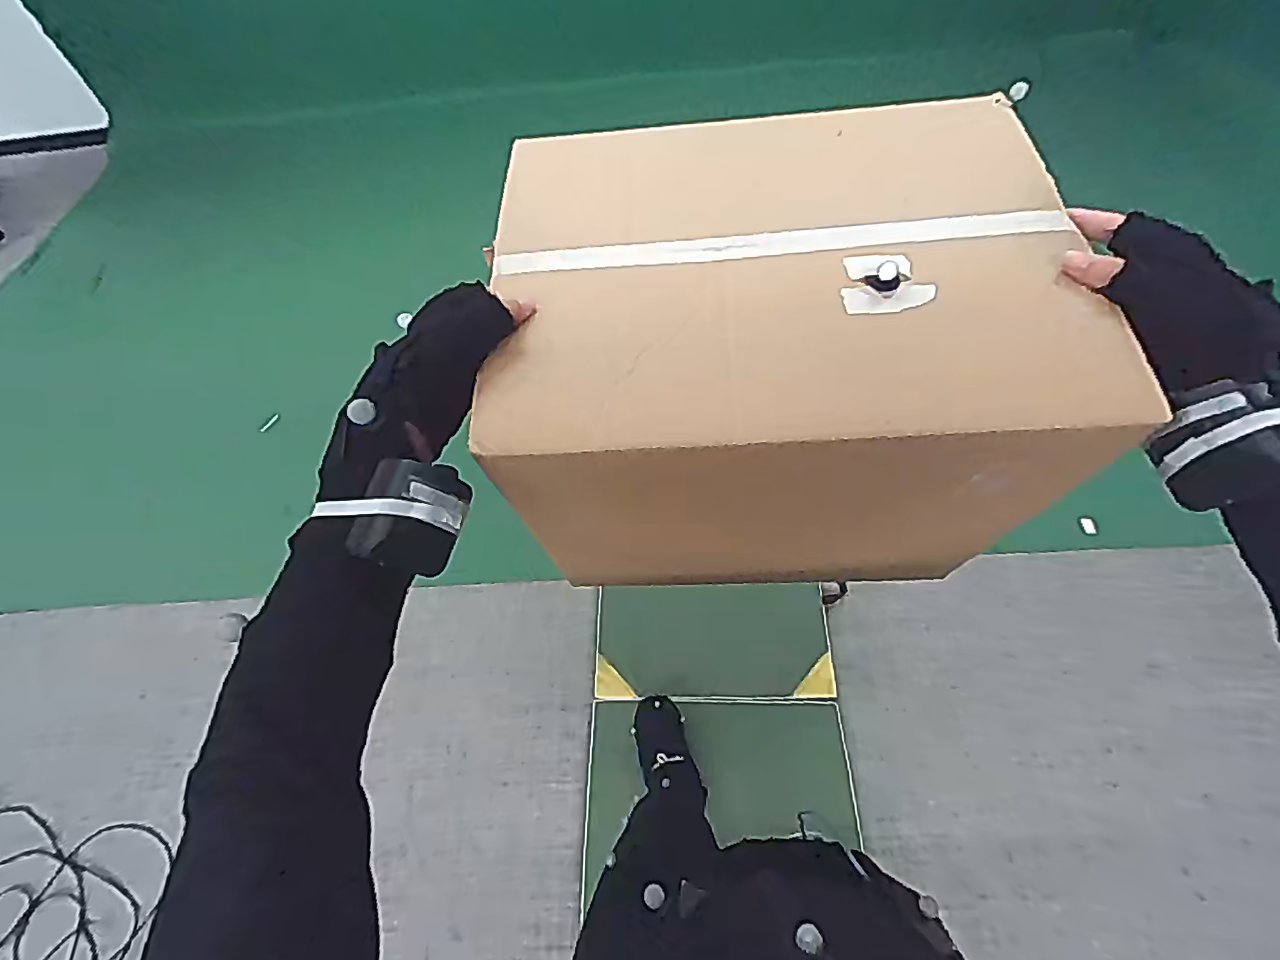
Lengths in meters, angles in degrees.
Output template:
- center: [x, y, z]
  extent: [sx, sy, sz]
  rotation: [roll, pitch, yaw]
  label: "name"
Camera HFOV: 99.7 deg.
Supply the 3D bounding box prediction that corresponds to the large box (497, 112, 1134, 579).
- center: [0.109, -0.100, 0.535]
  extent: [0.408, 0.320, 0.320]
  rotation: [-3, 64, 4]
  label: "large box"
